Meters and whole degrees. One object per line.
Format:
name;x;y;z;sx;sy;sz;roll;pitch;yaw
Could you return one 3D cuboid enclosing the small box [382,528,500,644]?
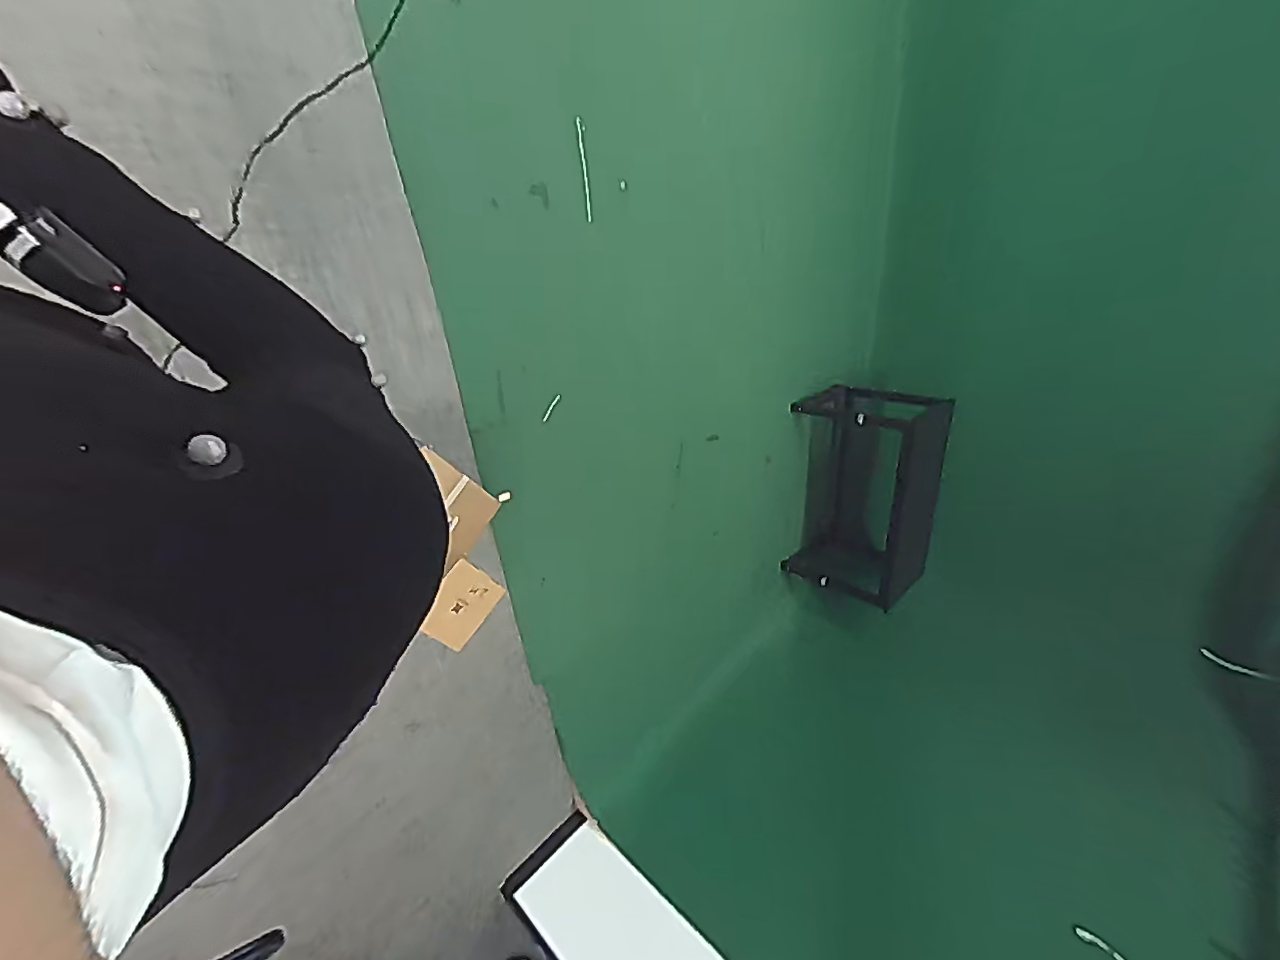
small box;-0.470;0.243;1.262;0.179;0.176;0.168;-53;137;-18
